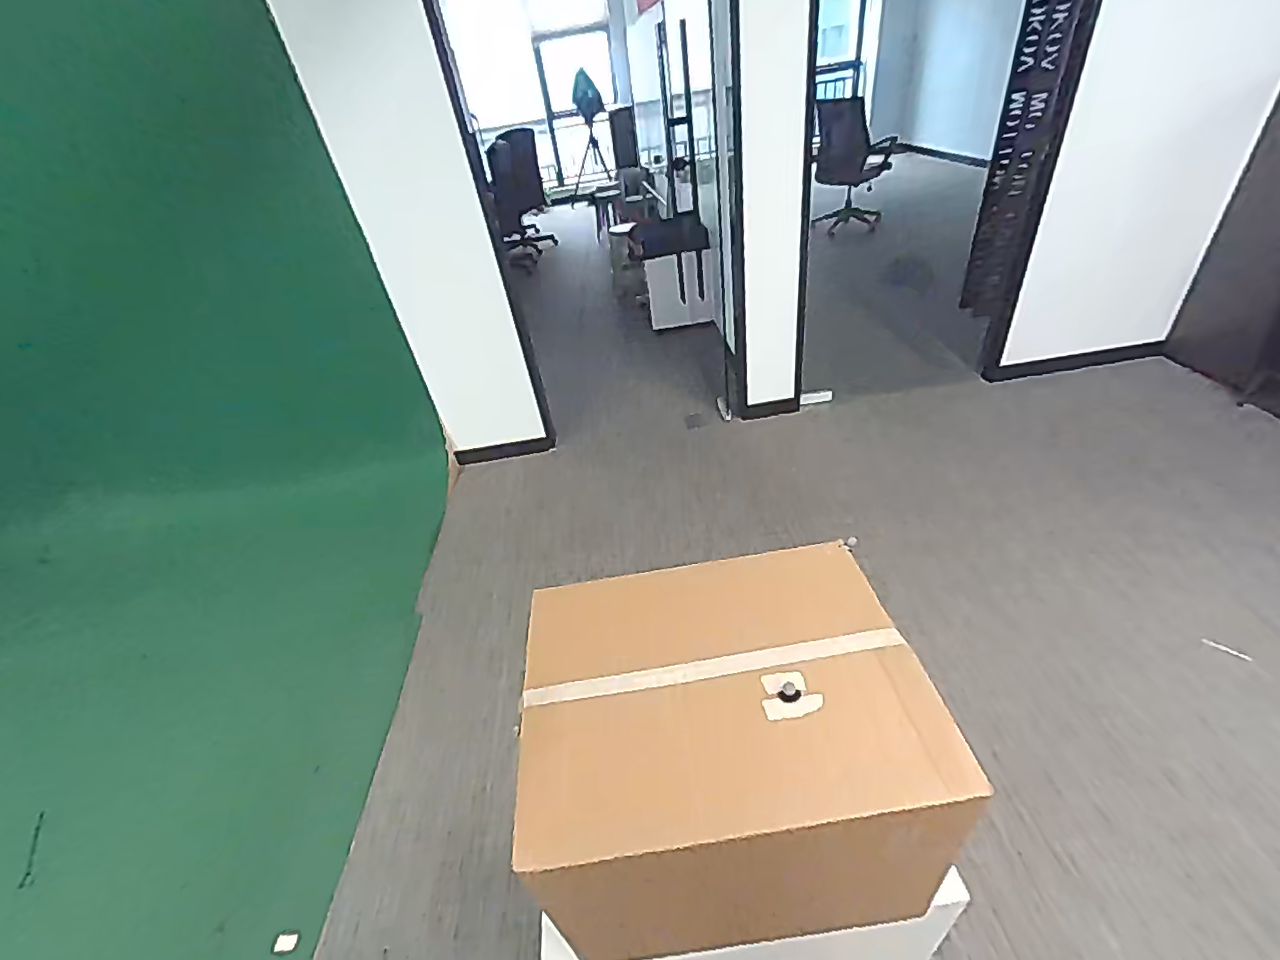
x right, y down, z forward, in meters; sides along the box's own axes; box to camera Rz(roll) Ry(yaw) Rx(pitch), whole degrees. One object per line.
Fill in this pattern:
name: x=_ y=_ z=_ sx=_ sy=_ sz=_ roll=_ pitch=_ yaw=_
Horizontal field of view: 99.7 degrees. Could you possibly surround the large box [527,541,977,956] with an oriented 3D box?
large box: x=0.097 y=0.317 z=0.666 sx=0.408 sy=0.320 sz=0.320 roll=-9 pitch=37 yaw=-1
